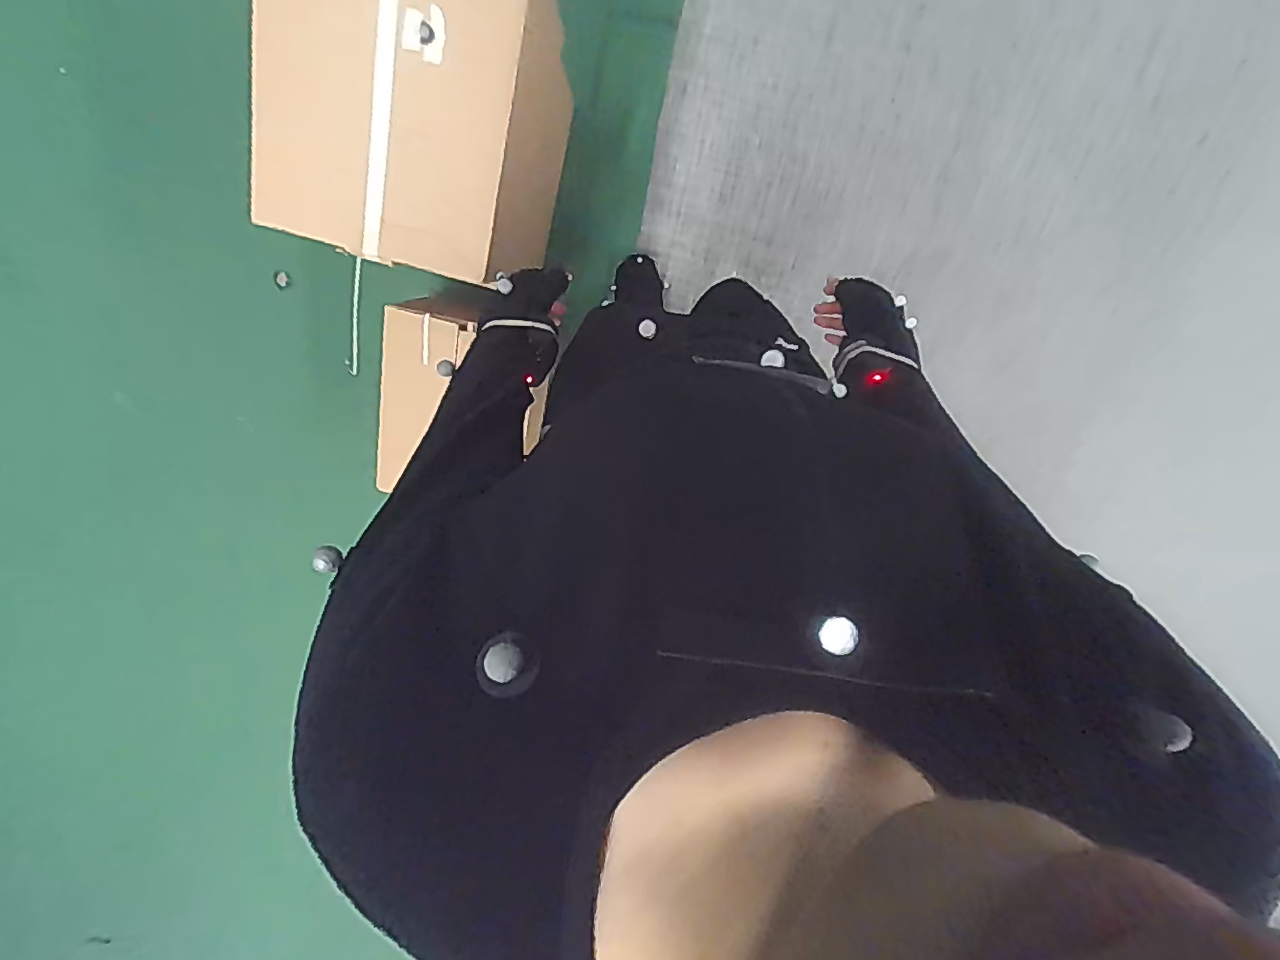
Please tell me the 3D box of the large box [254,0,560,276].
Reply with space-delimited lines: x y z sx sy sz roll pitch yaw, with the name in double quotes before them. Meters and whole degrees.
"large box" -0.321 -0.547 0.808 0.320 0.320 0.408 13 110 -8
